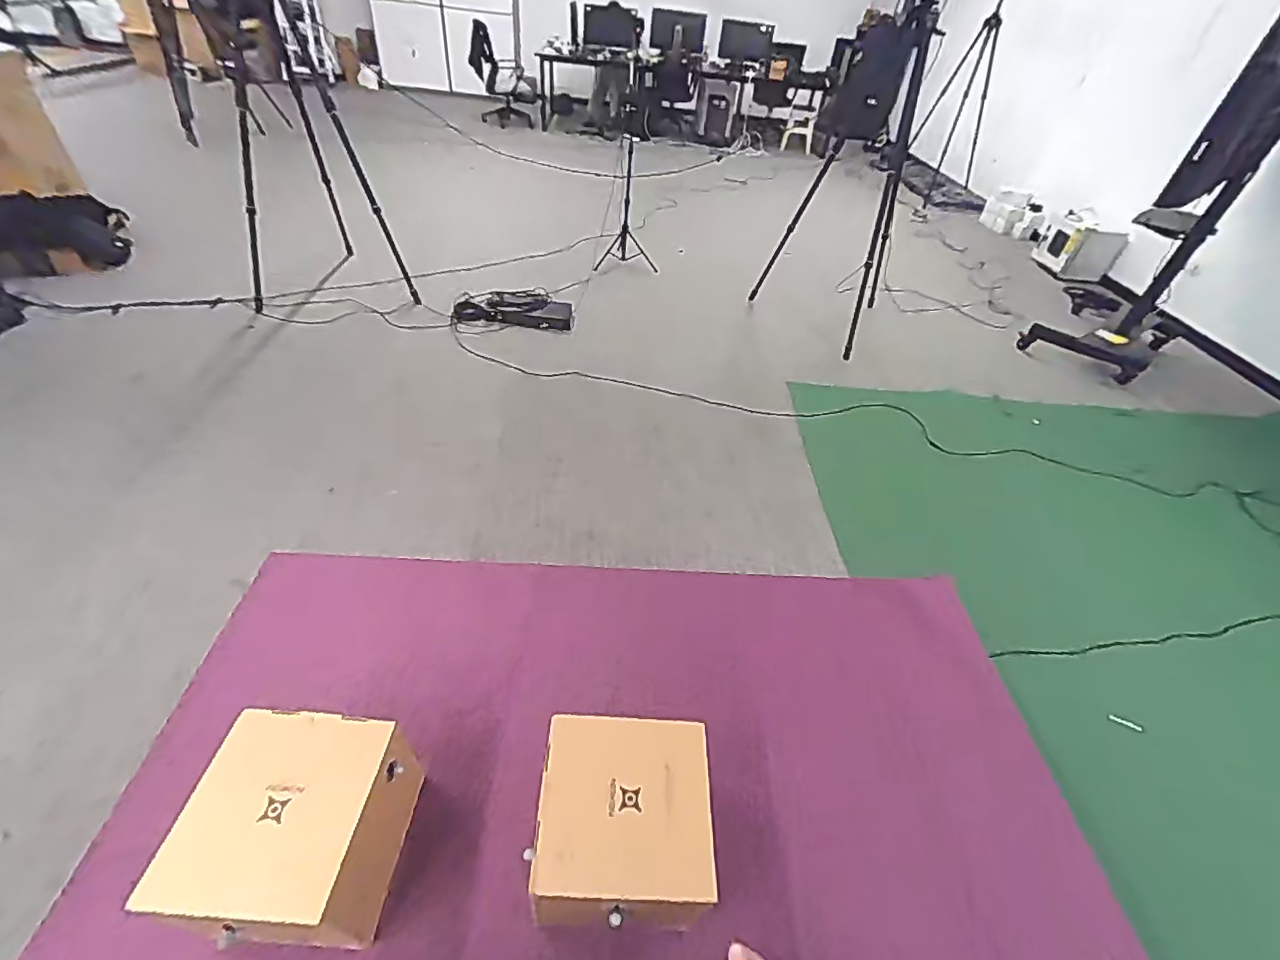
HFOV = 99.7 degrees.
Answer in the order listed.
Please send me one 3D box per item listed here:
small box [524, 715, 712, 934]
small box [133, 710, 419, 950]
[{"bbox_3d":[-0.023,0.384,0.603,0.179,0.176,0.168,5,42,-2],"label":"small box"},{"bbox_3d":[-0.354,0.374,0.576,0.168,0.176,0.179,5,42,-1],"label":"small box"}]
